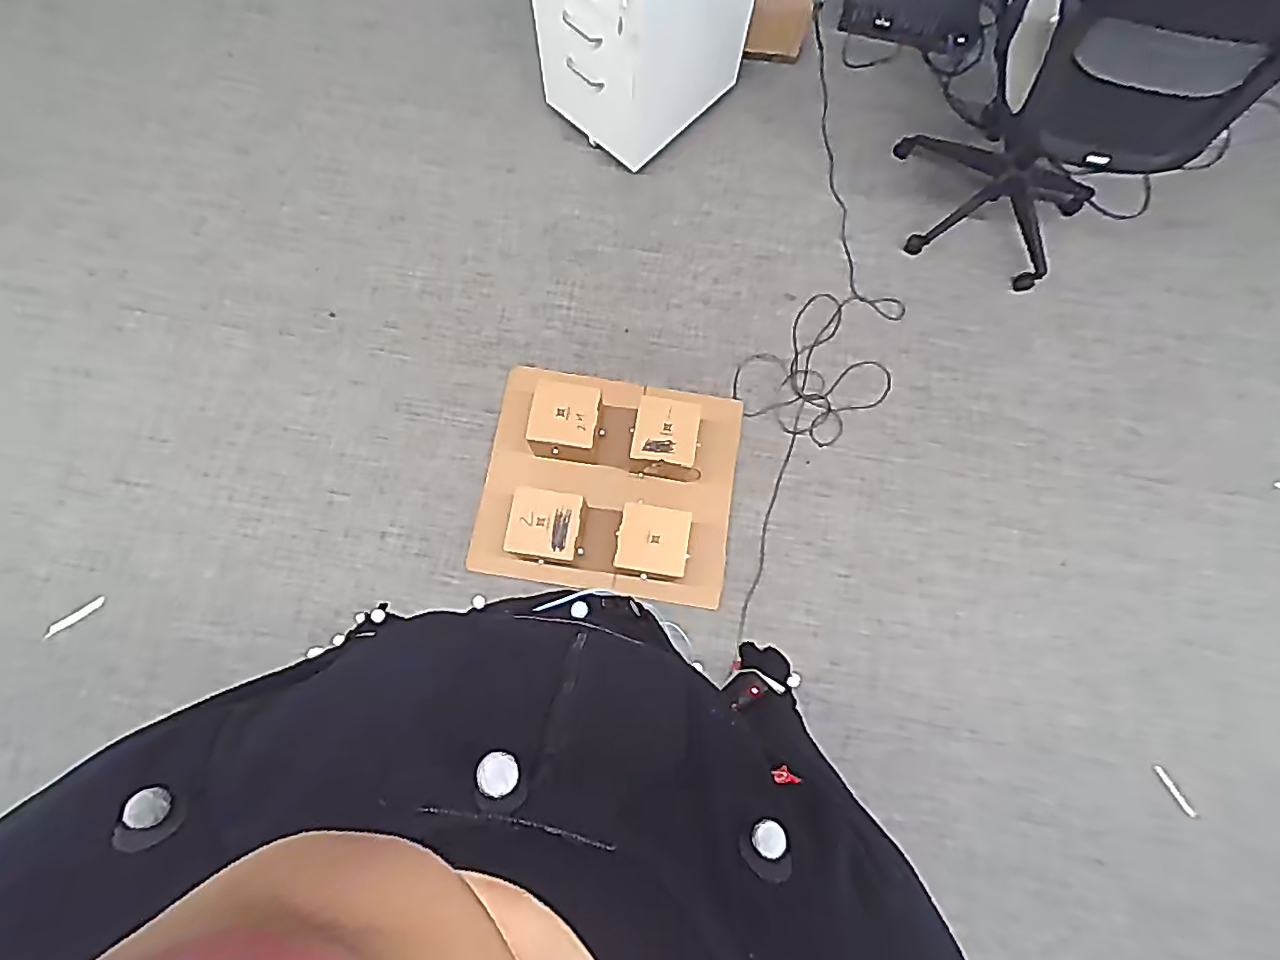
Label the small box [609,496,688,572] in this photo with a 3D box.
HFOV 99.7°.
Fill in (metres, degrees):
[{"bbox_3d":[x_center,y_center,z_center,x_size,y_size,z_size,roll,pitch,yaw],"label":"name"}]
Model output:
[{"bbox_3d":[0.022,0.148,1.424,0.179,0.176,0.168,10,78,2],"label":"small box"}]
